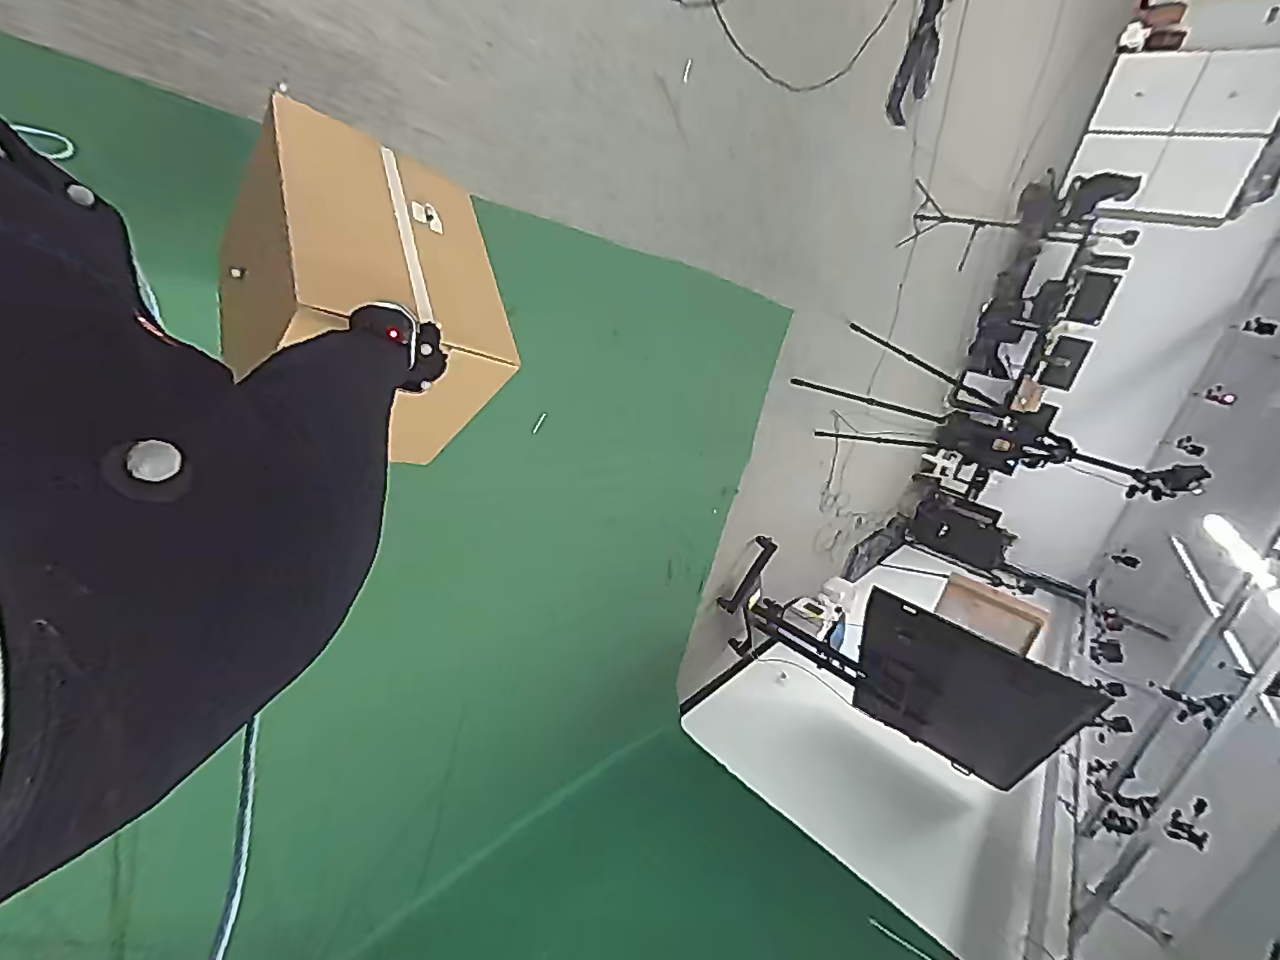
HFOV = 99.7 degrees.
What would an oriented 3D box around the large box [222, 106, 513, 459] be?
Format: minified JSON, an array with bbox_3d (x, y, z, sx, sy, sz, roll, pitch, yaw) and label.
[{"bbox_3d":[-0.468,-0.287,0.903,0.320,0.408,0.320,-36,154,32],"label":"large box"}]
